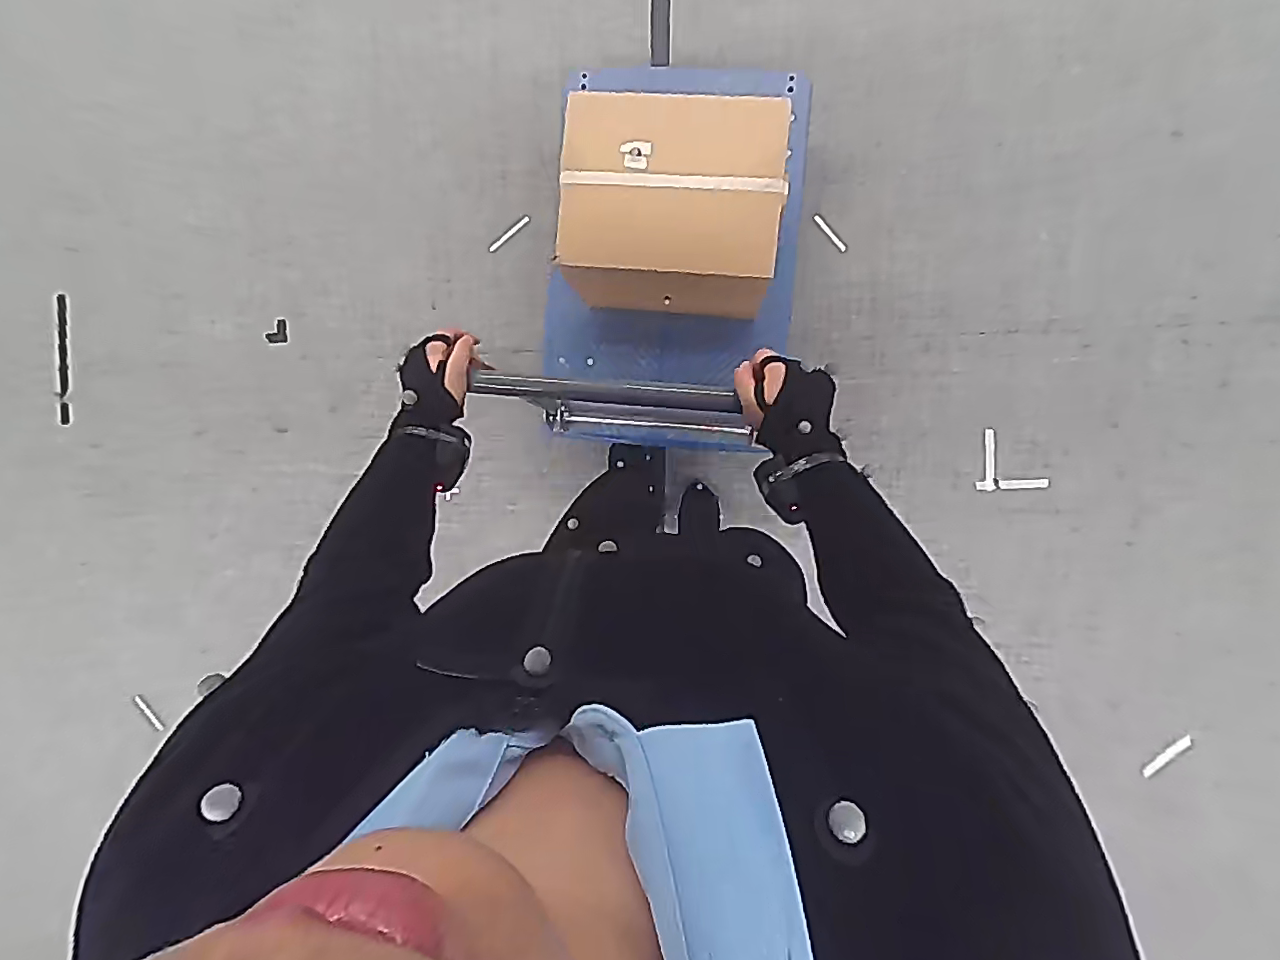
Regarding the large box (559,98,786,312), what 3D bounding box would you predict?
[{"bbox_3d":[0.074,-0.549,1.139,0.408,0.320,0.320,6,93,7],"label":"large box"}]
